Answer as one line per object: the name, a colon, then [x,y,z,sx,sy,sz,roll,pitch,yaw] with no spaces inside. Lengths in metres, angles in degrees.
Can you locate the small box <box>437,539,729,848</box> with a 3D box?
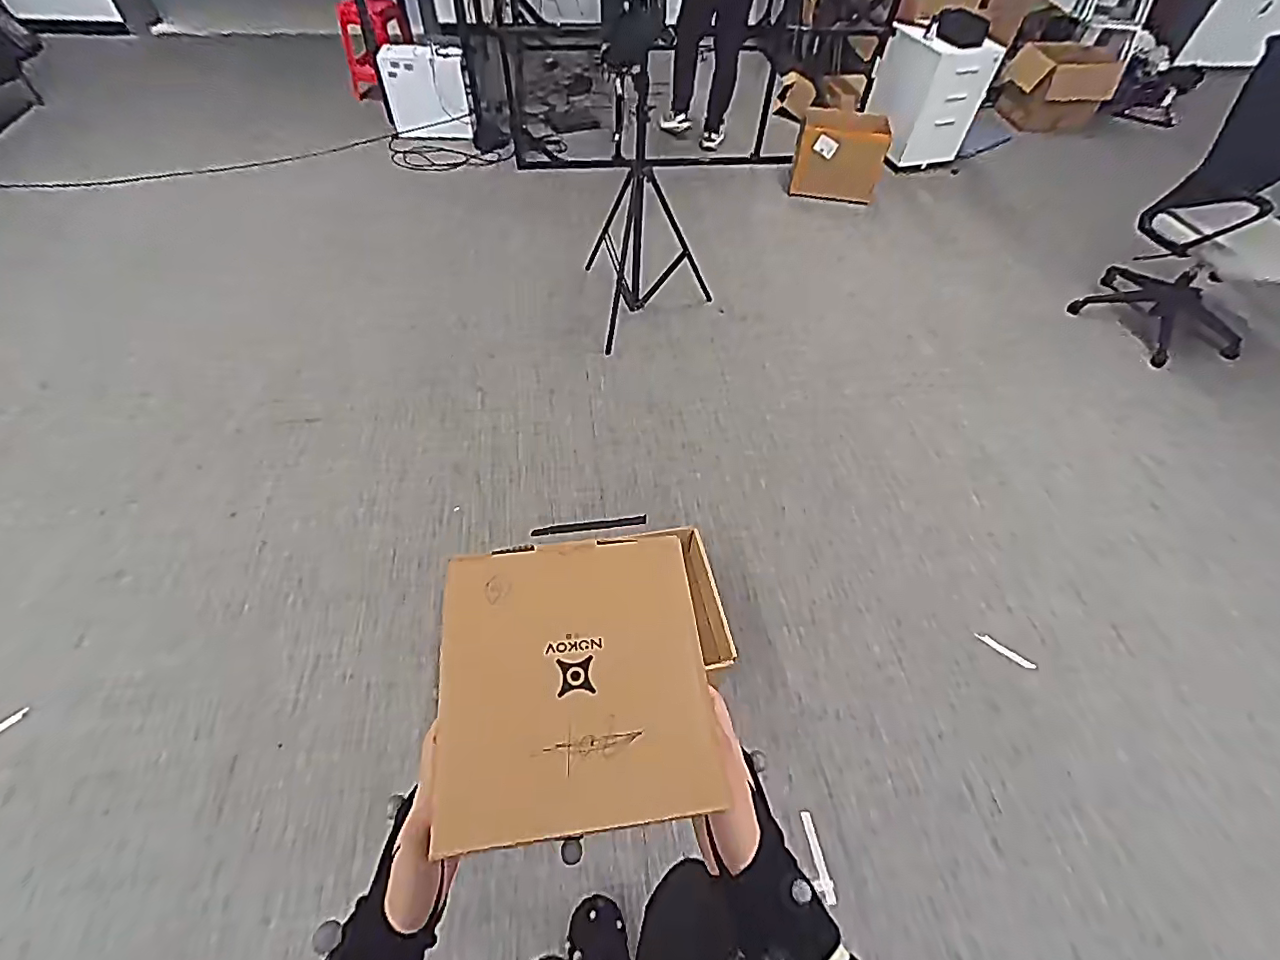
small box: [-0.046,0.163,0.410,0.168,0.176,0.179,-4,58,-8]
